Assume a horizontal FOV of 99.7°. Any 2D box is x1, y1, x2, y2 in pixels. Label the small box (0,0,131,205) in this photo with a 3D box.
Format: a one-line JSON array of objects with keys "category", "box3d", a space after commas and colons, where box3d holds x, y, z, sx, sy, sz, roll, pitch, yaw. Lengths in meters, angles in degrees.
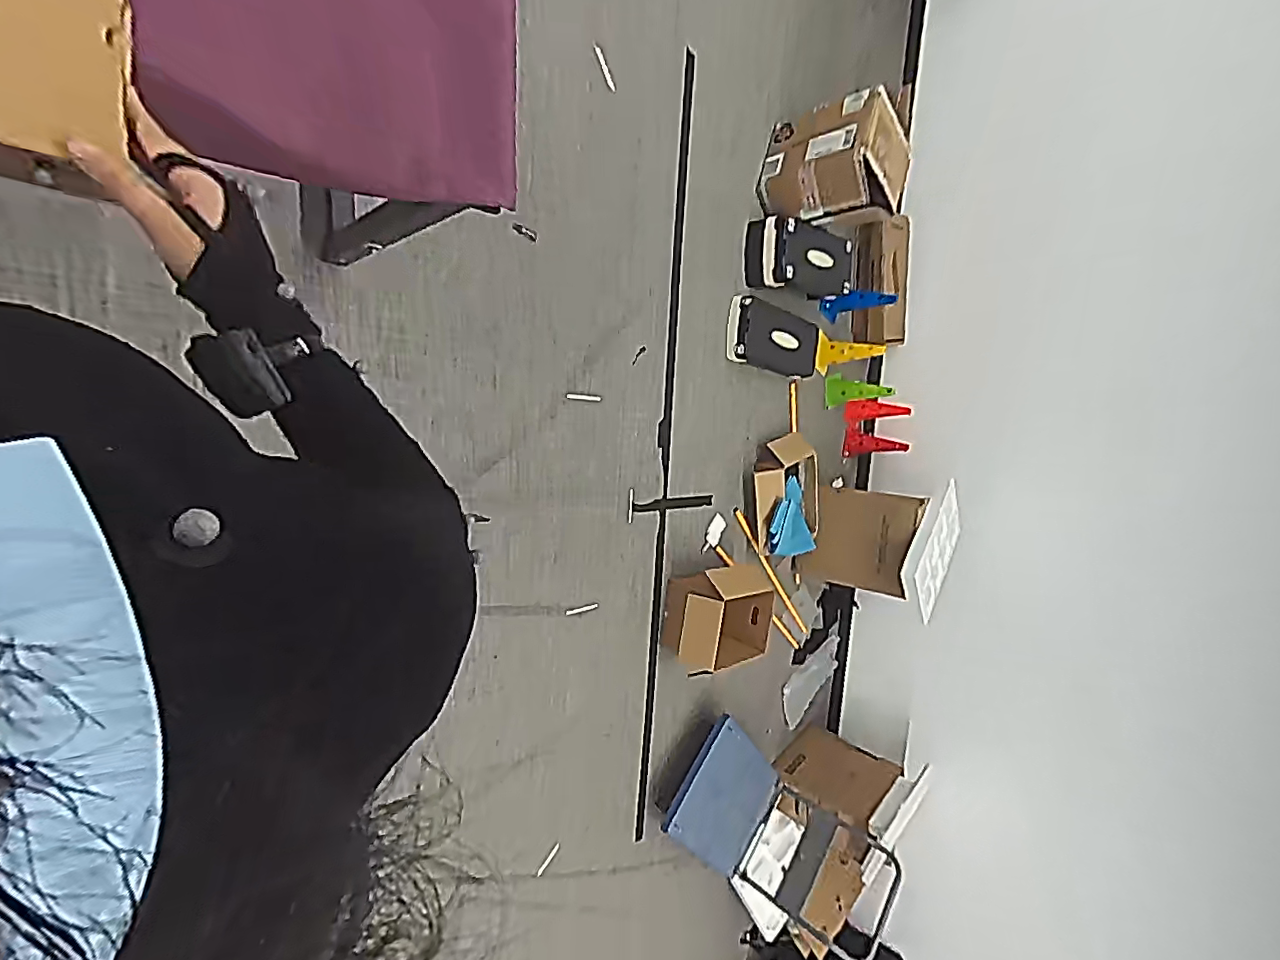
[{"category": "small box", "box3d": [-0.456, -0.298, 0.353, 0.179, 0.176, 0.168, -2, 104, -46]}]
